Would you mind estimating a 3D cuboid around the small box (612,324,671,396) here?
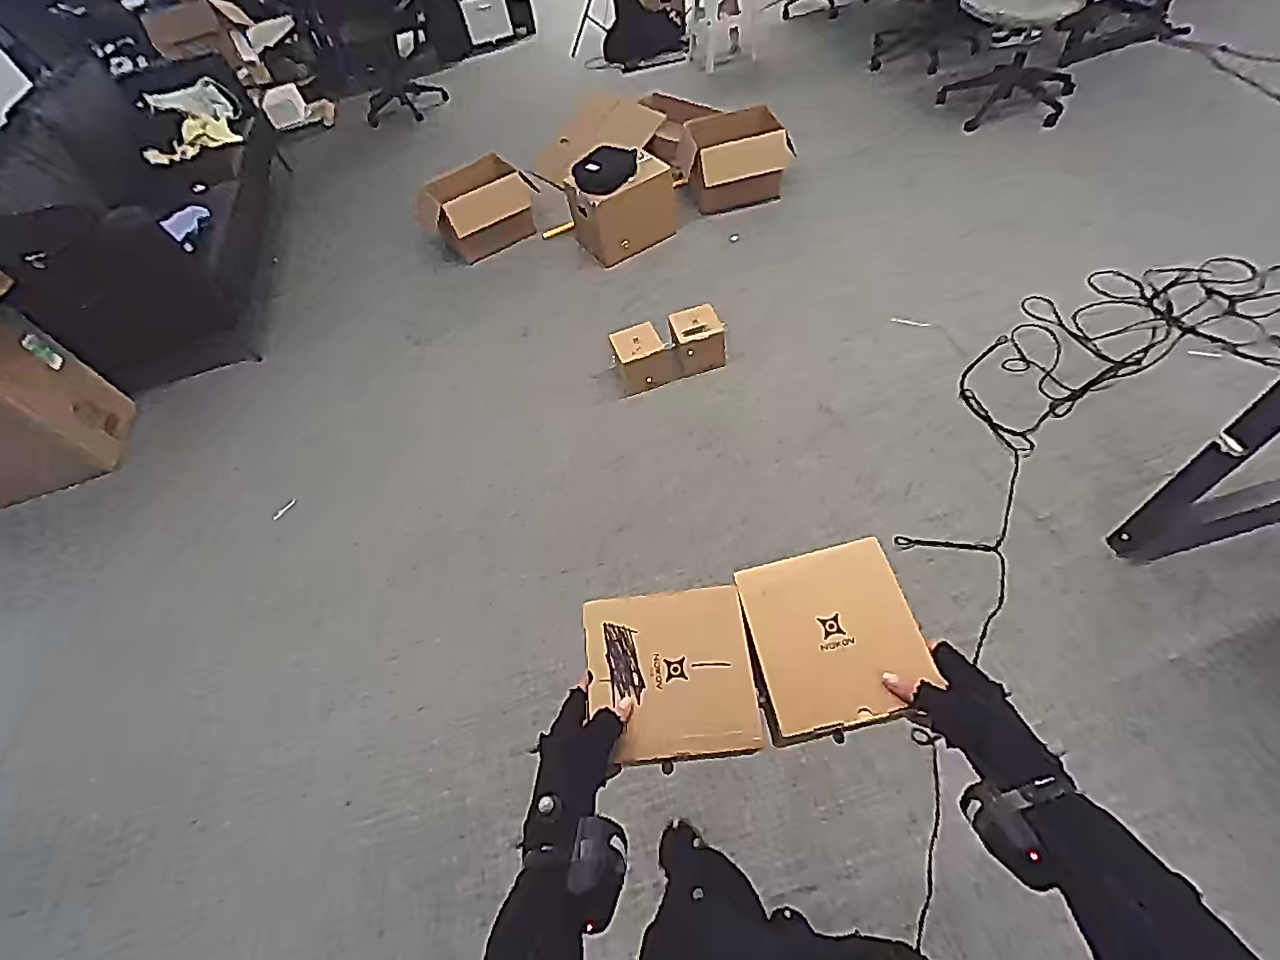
[{"bbox_3d":[0.008,-0.448,2.029,0.168,0.176,0.179,-21,54,-3],"label":"small box"}]
